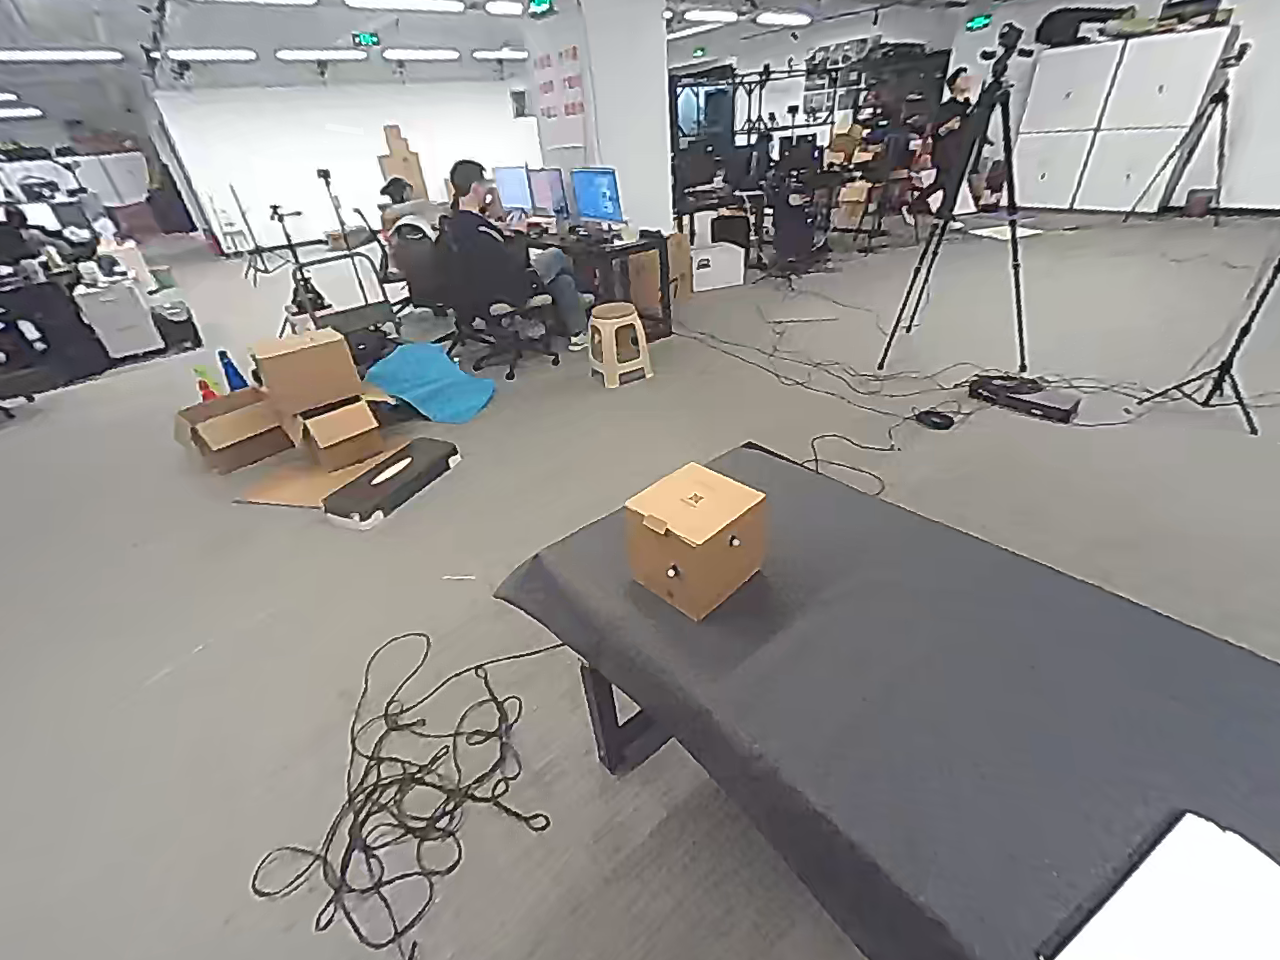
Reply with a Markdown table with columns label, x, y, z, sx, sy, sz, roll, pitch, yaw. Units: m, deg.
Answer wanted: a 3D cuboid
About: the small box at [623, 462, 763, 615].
| label | x | y | z | sx | sy | sz | roll | pitch | yaw |
| --- | --- | --- | --- | --- | --- | --- | --- | --- | --- |
| small box | 0.093 | 0.098 | 0.932 | 0.179 | 0.176 | 0.168 | -30 | 41 | -35 |
